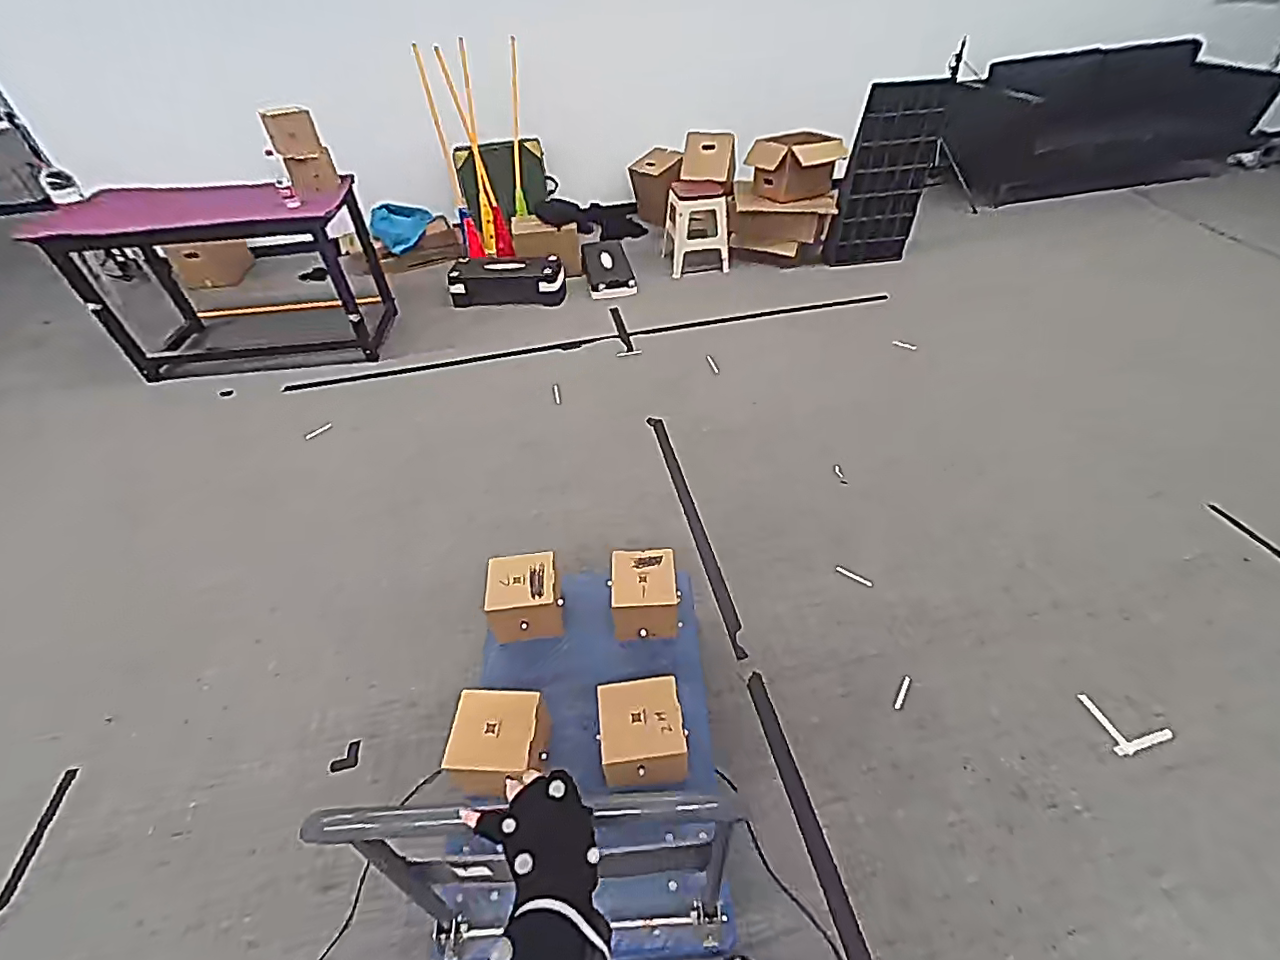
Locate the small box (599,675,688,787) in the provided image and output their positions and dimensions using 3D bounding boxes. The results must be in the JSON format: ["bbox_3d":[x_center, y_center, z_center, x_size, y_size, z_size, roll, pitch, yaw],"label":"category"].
[{"bbox_3d":[0.009,0.557,1.194,0.179,0.176,0.168,-7,44,-3],"label":"small box"}]

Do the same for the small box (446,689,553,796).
[{"bbox_3d":[-0.300,0.580,1.190,0.179,0.176,0.168,1,44,2],"label":"small box"}]

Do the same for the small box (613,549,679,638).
[{"bbox_3d":[0.016,0.306,1.453,0.168,0.176,0.179,-3,45,1],"label":"small box"}]
